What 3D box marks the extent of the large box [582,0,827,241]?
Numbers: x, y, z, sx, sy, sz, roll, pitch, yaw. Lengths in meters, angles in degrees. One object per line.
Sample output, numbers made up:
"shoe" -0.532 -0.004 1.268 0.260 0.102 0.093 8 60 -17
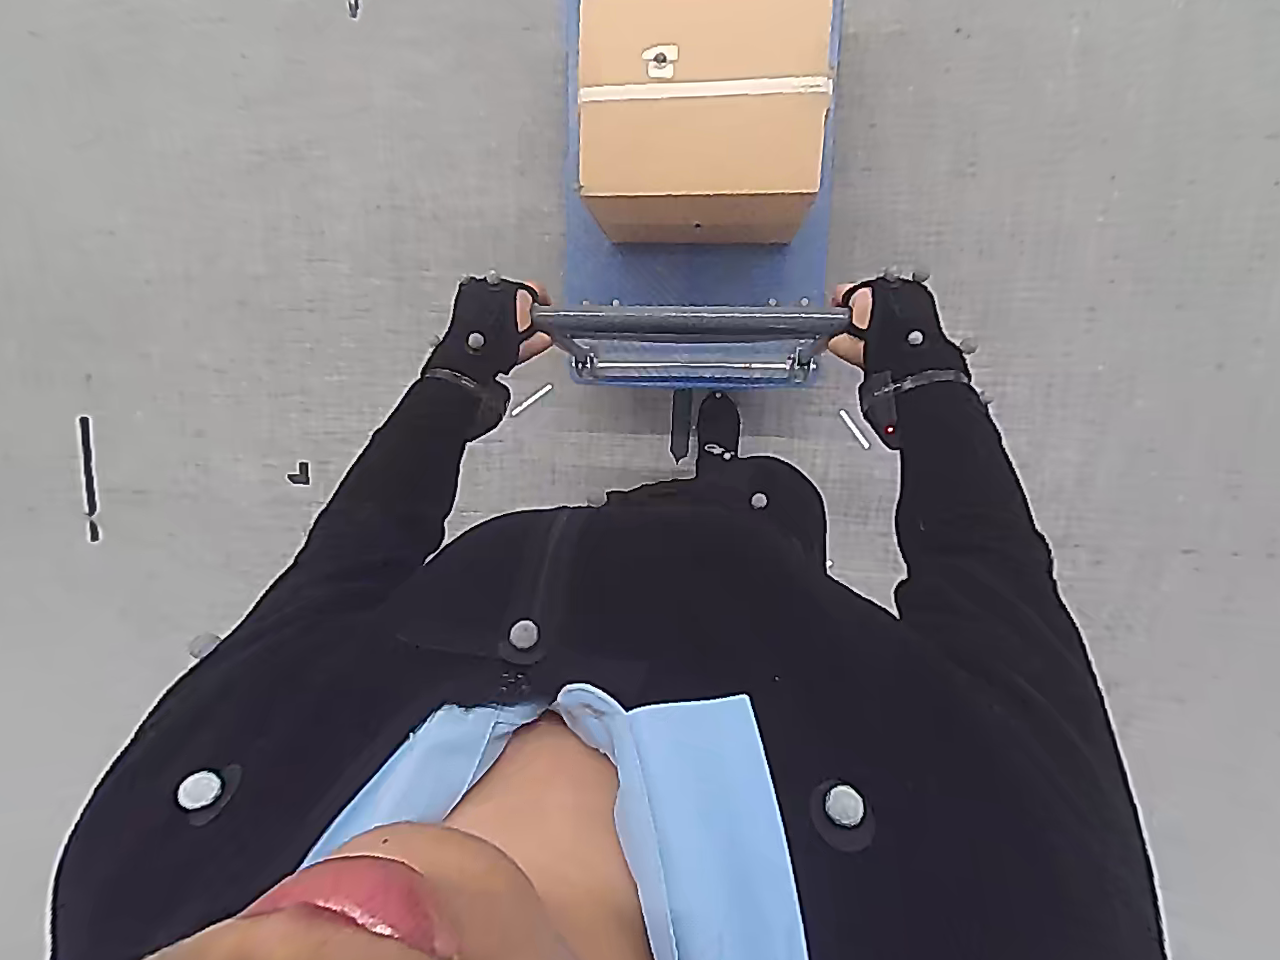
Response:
"large box" 0.121 -0.664 1.044 0.408 0.320 0.320 3 99 8
